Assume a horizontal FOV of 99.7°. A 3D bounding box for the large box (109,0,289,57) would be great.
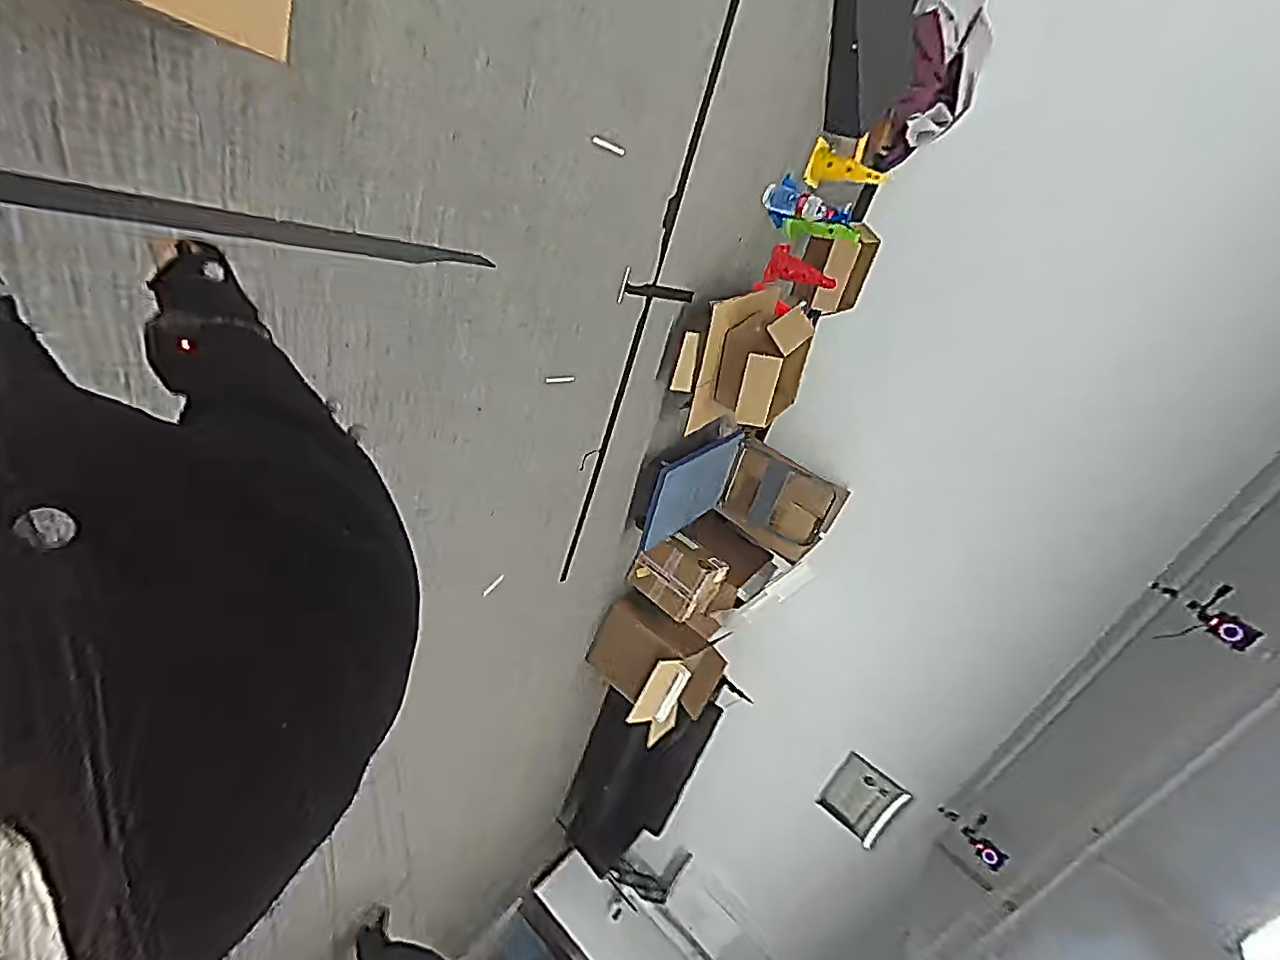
[{"bbox_3d":[-0.711,-0.796,0.655,0.408,0.320,0.320,-16,133,-54],"label":"large box"}]
